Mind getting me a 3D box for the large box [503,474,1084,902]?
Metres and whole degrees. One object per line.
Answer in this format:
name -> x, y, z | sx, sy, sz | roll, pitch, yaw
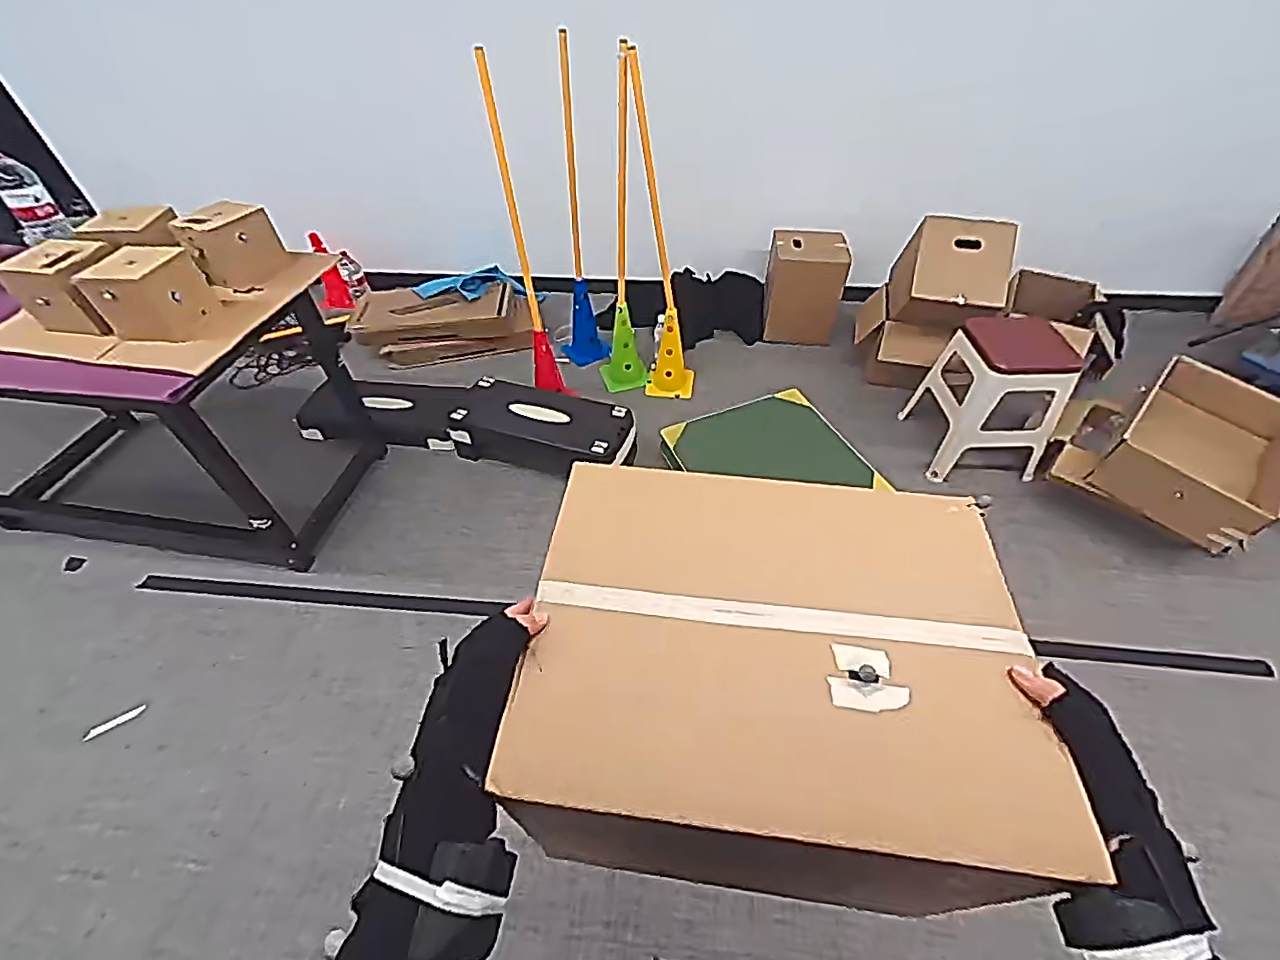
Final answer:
large box -> 0.111, 0.221, 0.576 | 0.408, 0.320, 0.320 | 5, 49, 5
